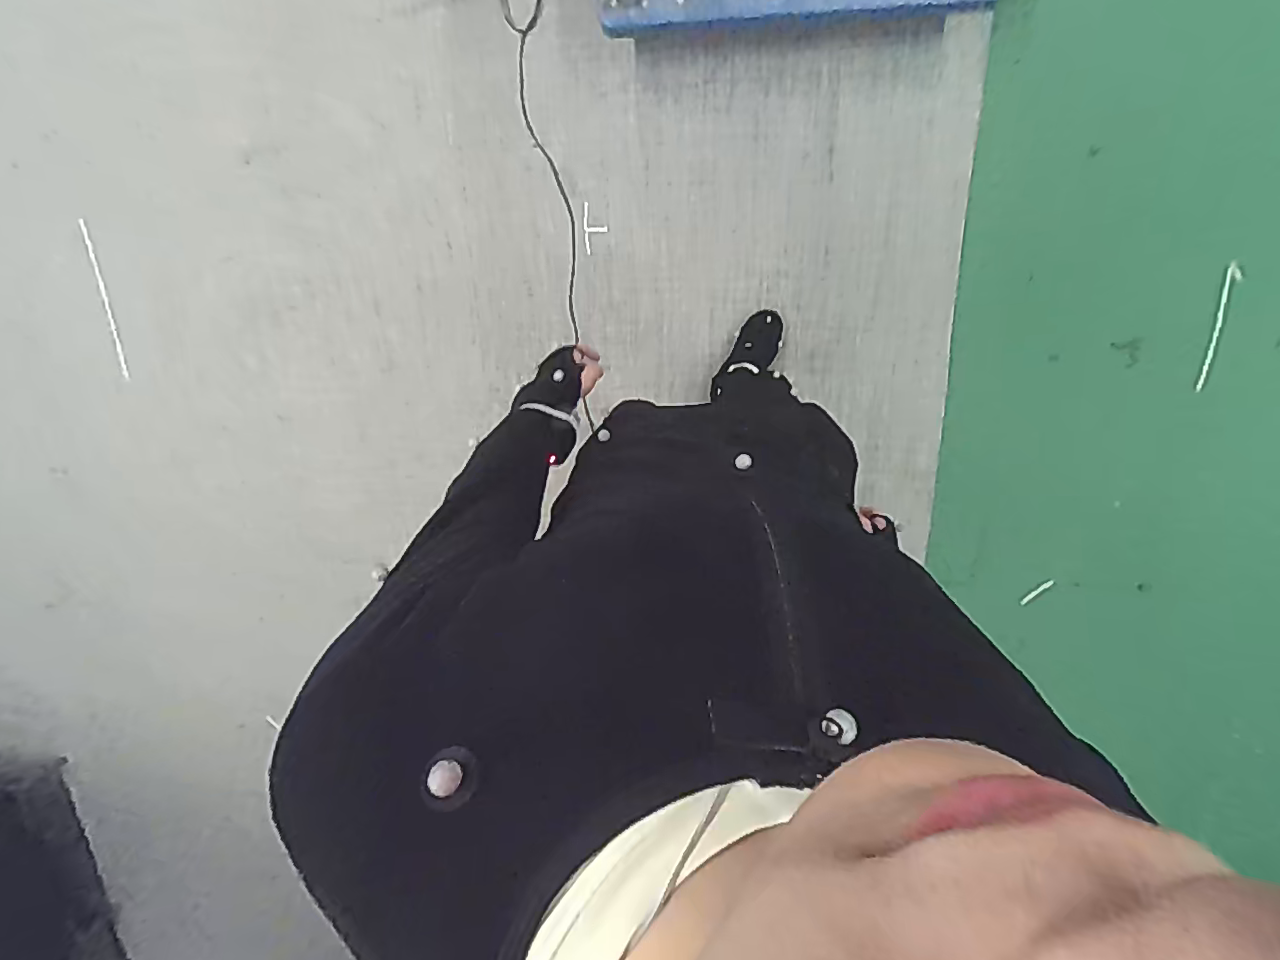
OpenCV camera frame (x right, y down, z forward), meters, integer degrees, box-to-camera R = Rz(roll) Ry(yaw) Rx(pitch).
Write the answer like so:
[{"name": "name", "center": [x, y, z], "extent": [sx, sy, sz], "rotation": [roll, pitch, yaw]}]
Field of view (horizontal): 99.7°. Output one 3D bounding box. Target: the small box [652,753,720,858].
[{"name": "small box", "center": [0.122, 0.876, 1.470], "extent": [0.168, 0.176, 0.179], "rotation": [4, 105, 5]}]
